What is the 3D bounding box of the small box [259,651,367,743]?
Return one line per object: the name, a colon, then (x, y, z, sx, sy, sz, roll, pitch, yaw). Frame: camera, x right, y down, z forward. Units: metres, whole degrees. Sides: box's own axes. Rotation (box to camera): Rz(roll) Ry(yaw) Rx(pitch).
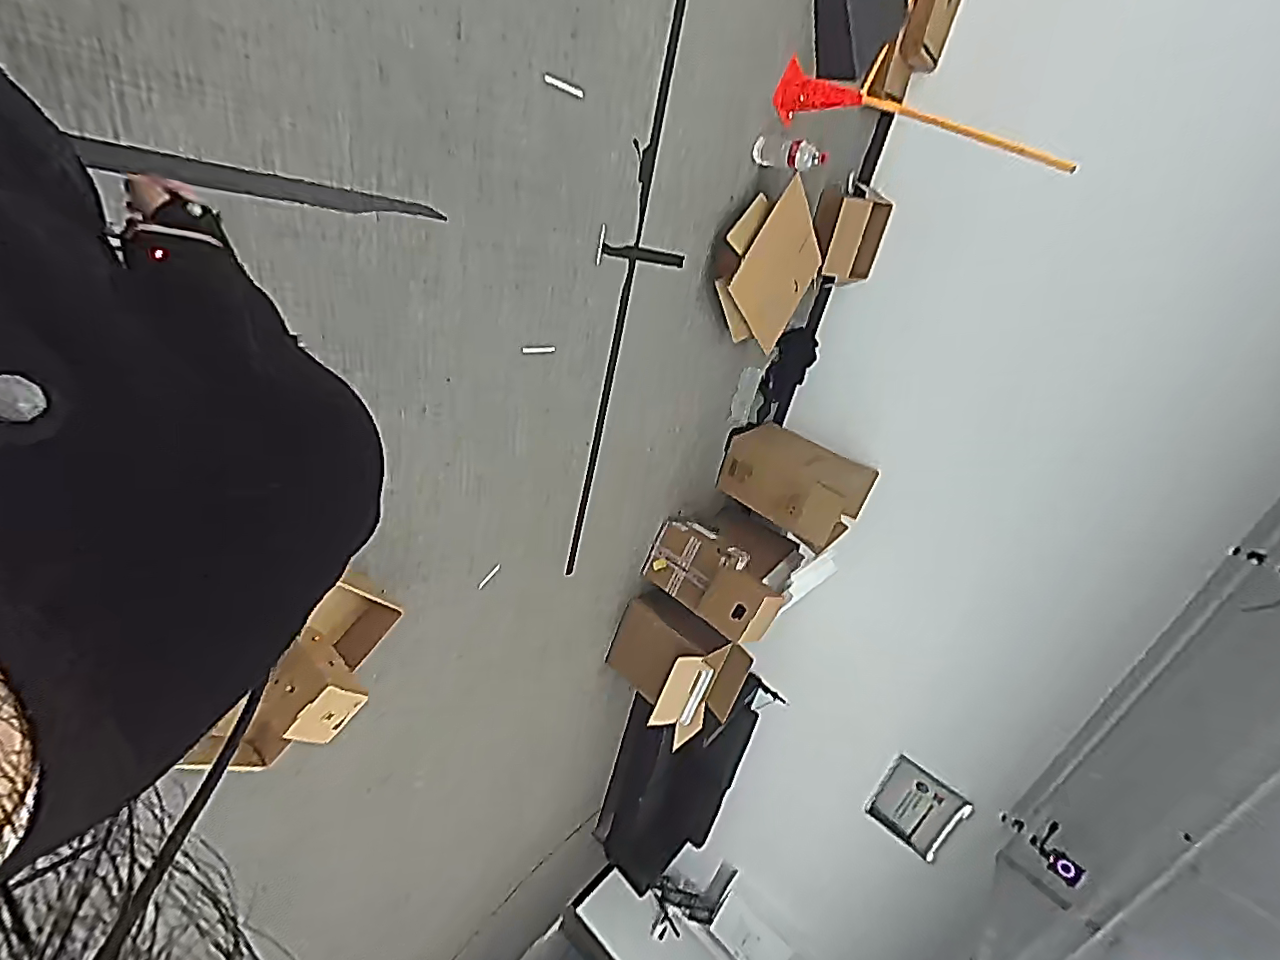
small box: (-0.937, 0.618, 1.549, 0.168, 0.176, 0.179, -48, 148, -17)
